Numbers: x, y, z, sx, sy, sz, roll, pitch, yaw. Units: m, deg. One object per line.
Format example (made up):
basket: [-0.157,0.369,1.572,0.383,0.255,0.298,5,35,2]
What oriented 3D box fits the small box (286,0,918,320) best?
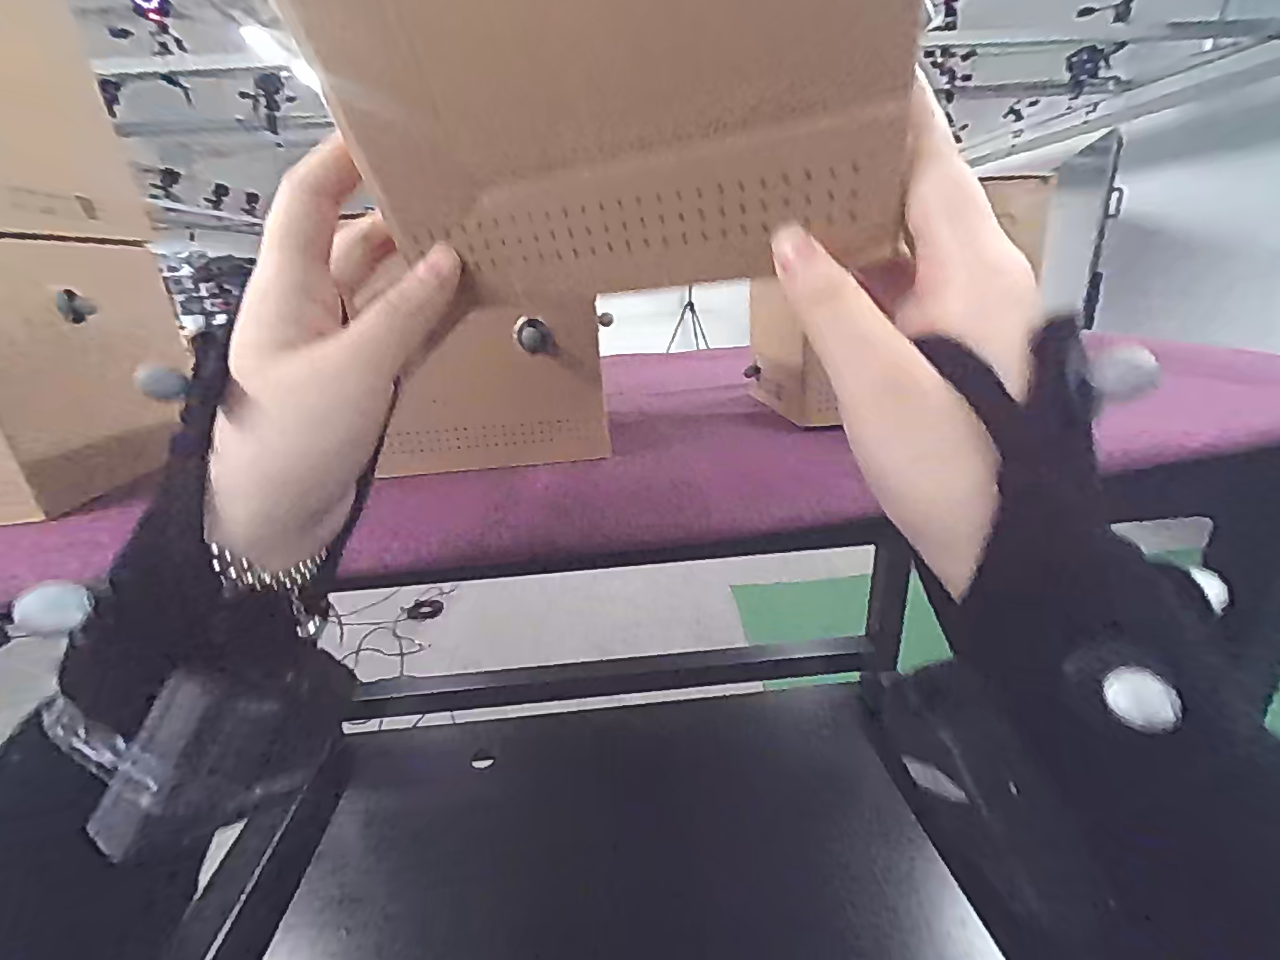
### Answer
small box: [-0.004,-0.171,0.192,0.179,0.176,0.168,0,45,17]

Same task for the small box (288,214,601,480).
small box: [-0.123,-0.109,0.424,0.179,0.176,0.168,-7,21,-5]

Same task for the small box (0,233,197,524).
small box: [-0.460,-0.072,0.372,0.168,0.176,0.179,-5,21,-6]

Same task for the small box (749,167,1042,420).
small box: [0.195,-0.151,0.466,0.179,0.176,0.168,-4,19,-2]
